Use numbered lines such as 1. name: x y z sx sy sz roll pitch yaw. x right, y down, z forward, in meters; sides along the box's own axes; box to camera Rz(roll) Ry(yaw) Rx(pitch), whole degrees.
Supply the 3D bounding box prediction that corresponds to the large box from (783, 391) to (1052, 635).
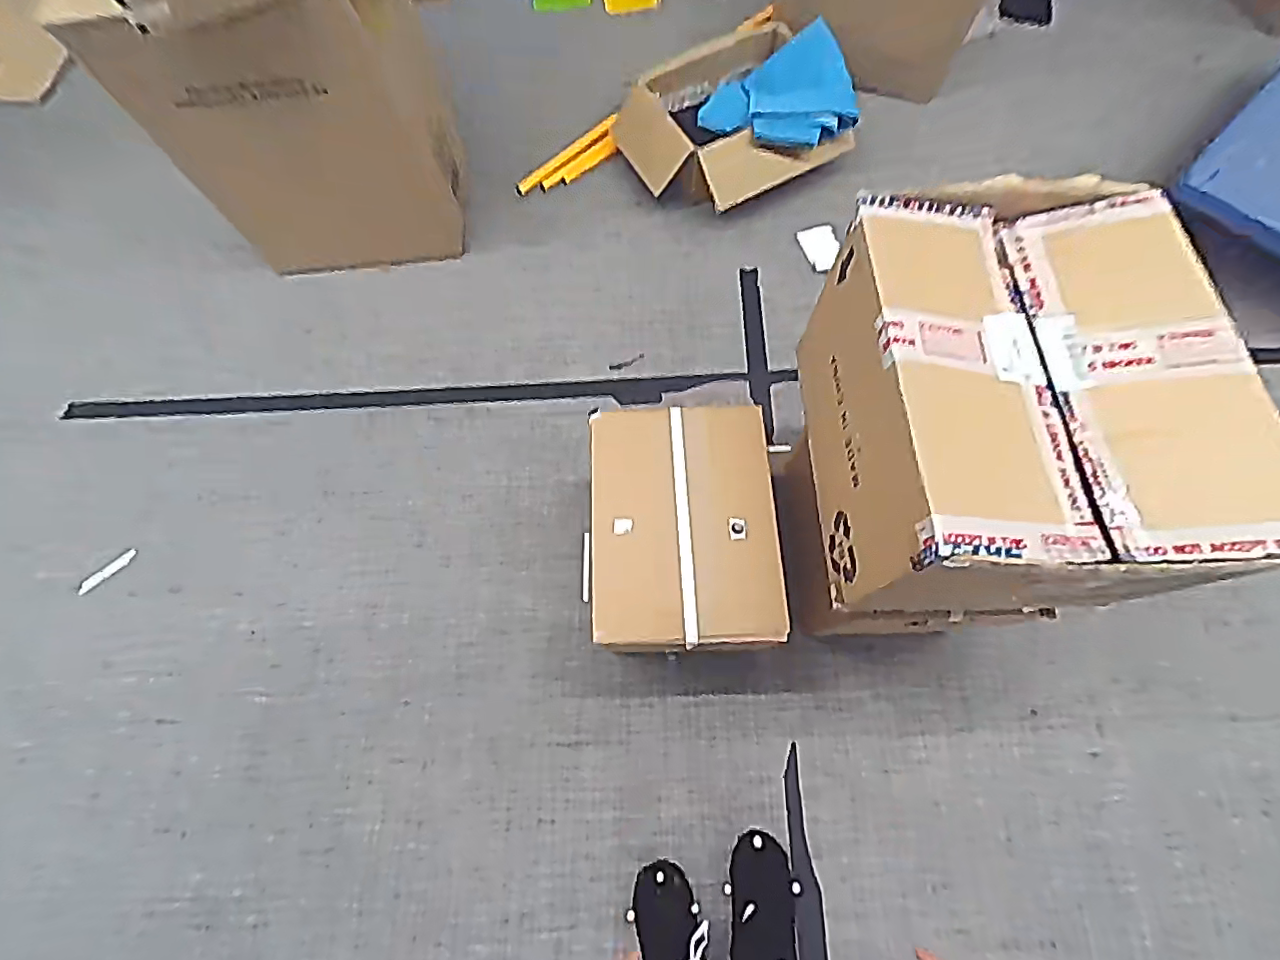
1. large box: 0.491 0.080 1.058 0.320 0.320 0.408 -3 70 1
